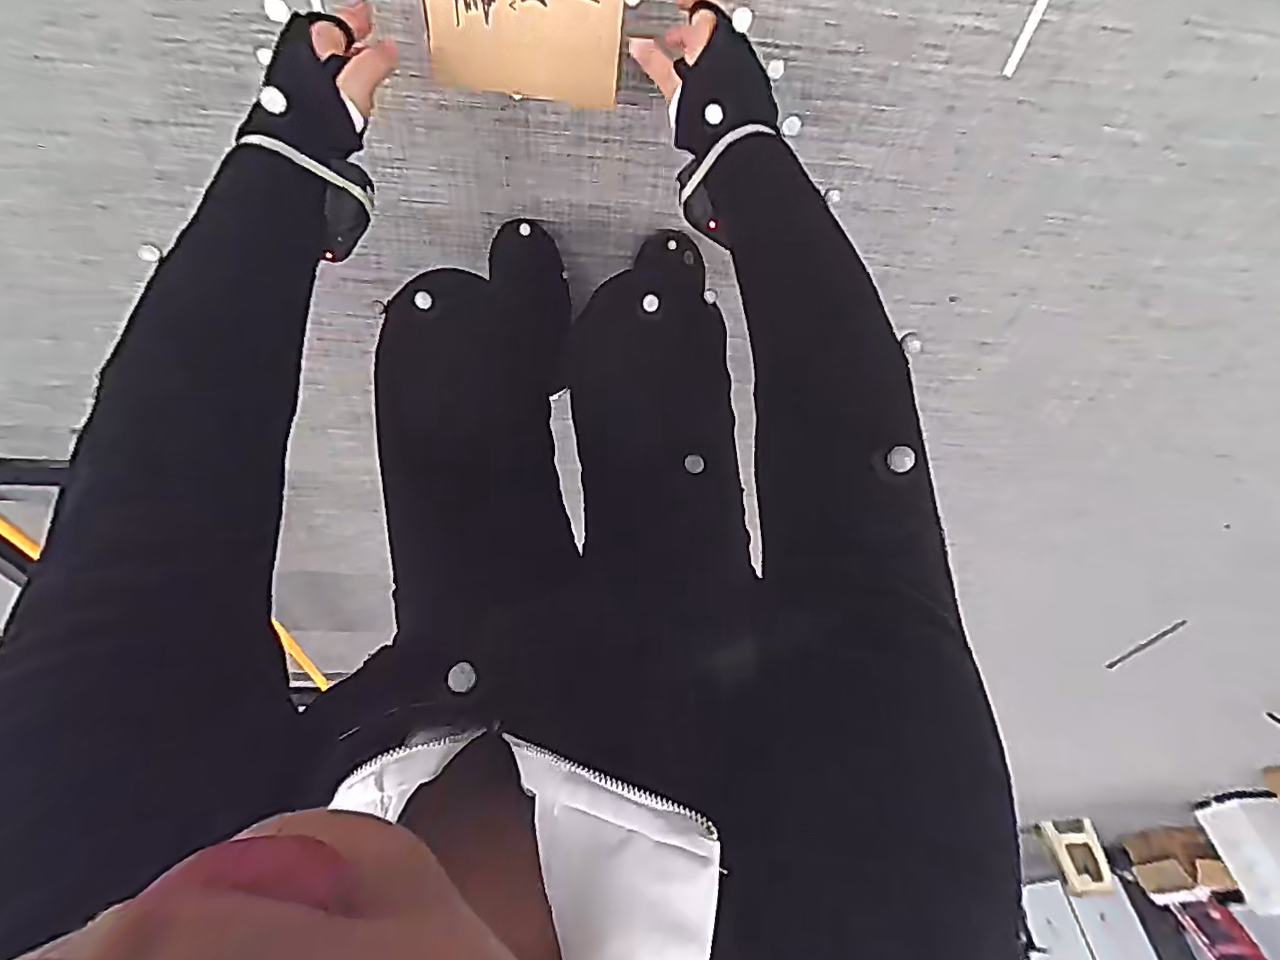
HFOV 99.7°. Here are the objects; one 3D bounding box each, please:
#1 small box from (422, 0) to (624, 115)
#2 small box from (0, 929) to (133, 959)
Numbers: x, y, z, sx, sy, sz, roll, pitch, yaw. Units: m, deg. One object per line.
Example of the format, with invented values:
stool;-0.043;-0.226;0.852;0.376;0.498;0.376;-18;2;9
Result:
small box;-0.103;-0.483;0.520;0.179;0.176;0.168;5;138;-8
small box;-1.038;0.878;0.914;0.179;0.176;0.168;1;139;-4
